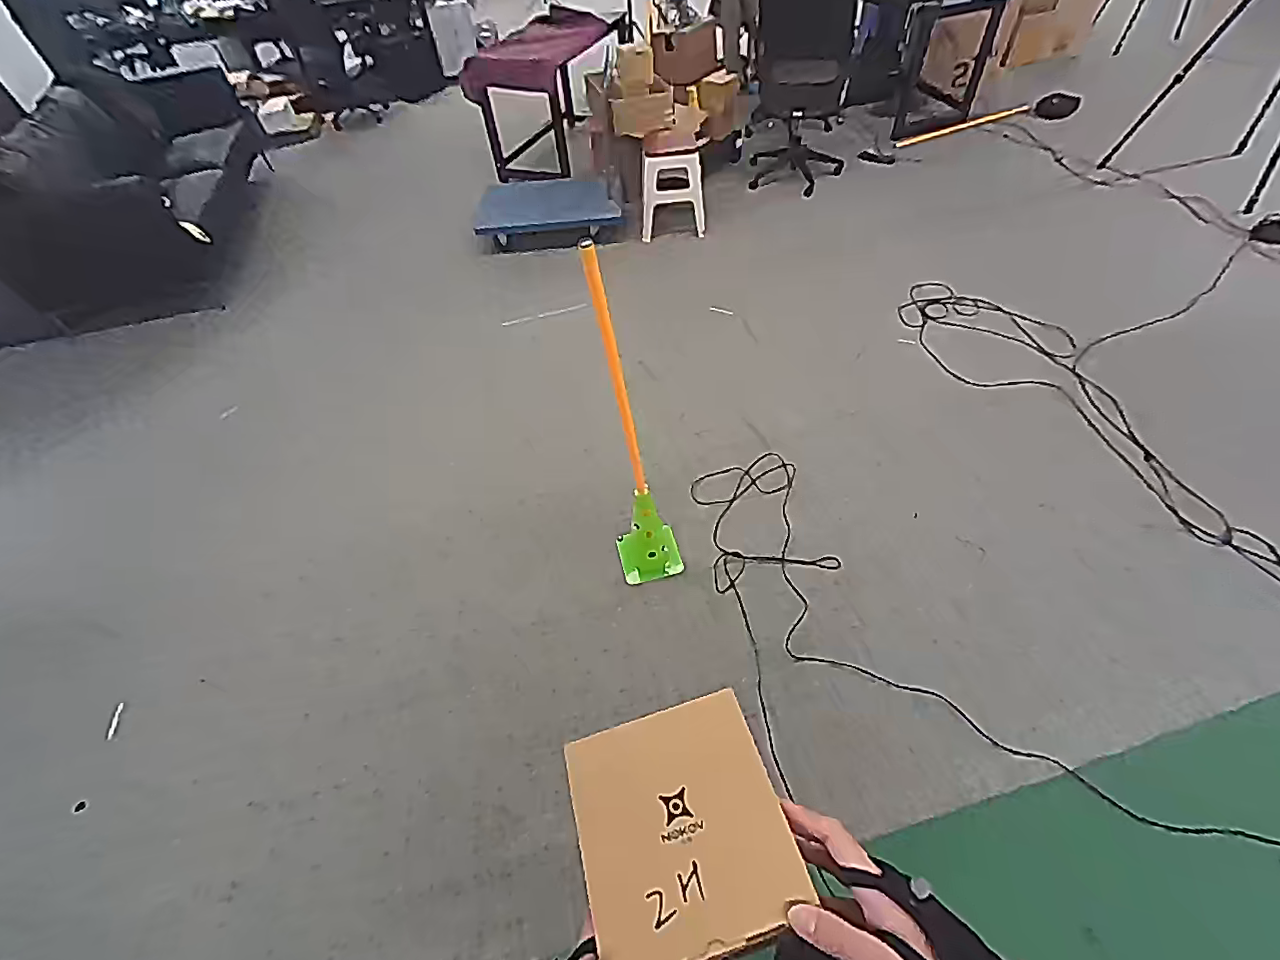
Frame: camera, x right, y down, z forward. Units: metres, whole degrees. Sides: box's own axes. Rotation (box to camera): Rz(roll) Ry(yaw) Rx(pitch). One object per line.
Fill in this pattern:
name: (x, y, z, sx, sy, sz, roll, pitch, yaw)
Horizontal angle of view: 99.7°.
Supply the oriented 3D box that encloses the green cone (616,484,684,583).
green cone: (0.022, 0.143, 1.710, 0.202, 0.368, 0.200, -13, 51, -7)
